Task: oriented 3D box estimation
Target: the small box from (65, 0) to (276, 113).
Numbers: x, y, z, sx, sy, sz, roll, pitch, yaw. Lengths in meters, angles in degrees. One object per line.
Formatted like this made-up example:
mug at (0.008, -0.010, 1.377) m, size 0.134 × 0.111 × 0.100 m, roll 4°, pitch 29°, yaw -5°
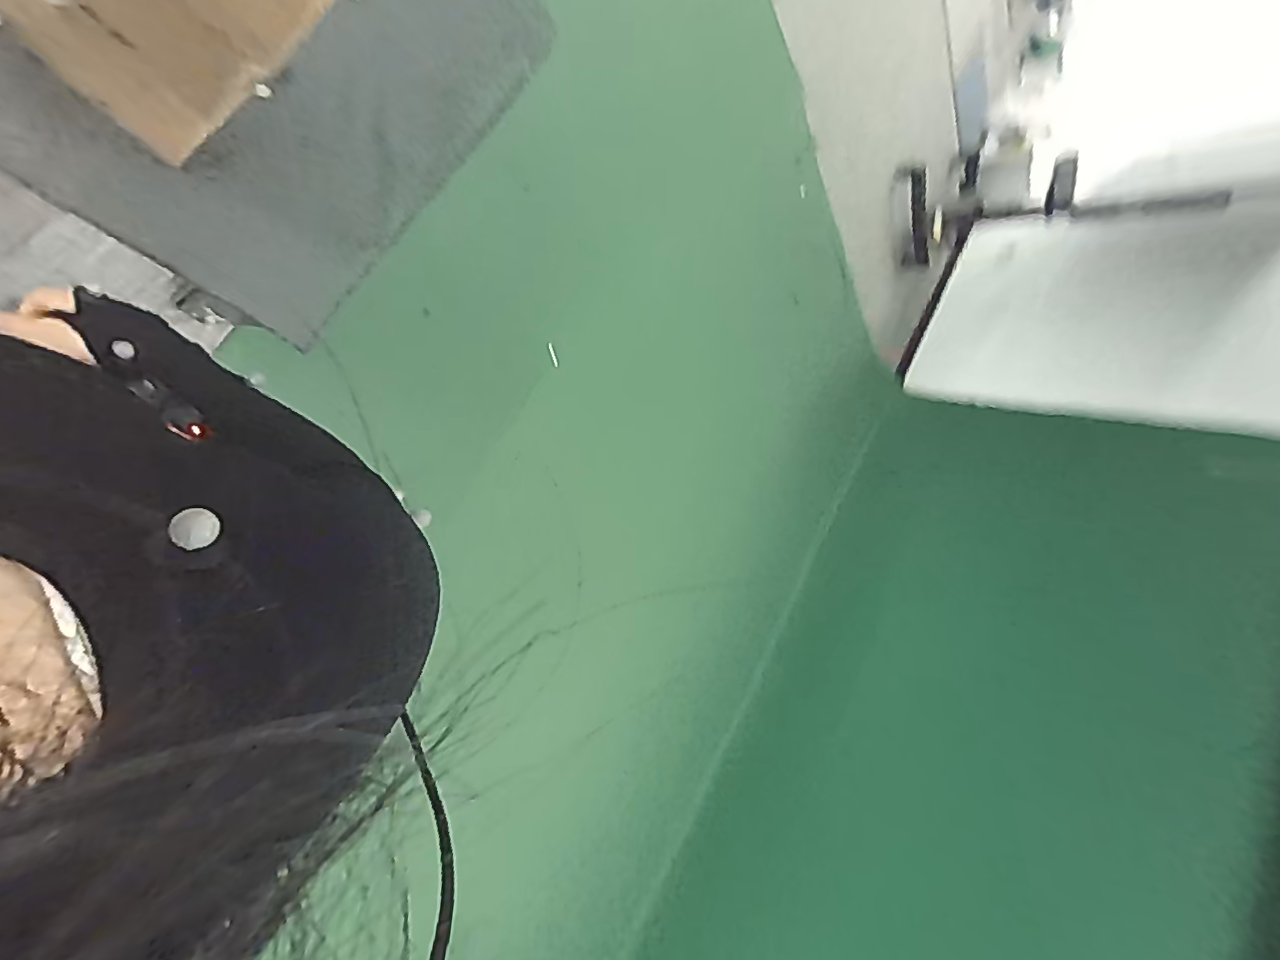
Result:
small box at (-0.294, -0.385, 0.344) m, size 0.168 × 0.176 × 0.179 m, roll 40°, pitch 71°, yaw -44°

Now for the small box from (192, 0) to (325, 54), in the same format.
small box at (-0.177, -0.347, 0.233) m, size 0.168 × 0.176 × 0.179 m, roll 36°, pitch 74°, yaw -44°

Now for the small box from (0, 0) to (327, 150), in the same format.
small box at (-0.408, -0.418, 0.454) m, size 0.168 × 0.176 × 0.179 m, roll 45°, pitch 66°, yaw -43°
